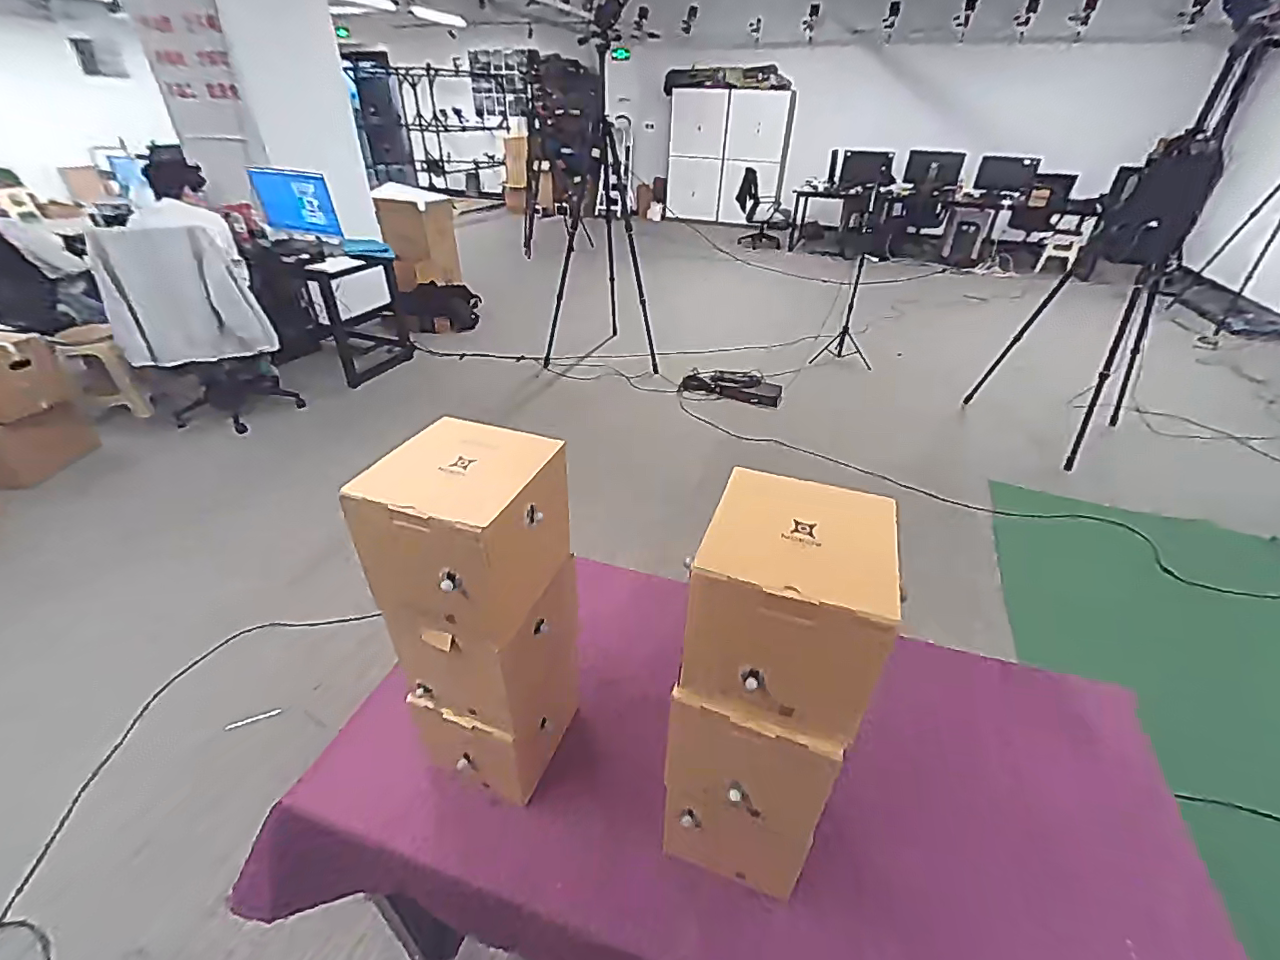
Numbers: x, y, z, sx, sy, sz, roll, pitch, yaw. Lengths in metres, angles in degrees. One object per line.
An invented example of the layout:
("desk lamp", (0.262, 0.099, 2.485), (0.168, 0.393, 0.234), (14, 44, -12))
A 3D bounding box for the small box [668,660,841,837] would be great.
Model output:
("small box", (0.136, 0.257, 0.623), (0.168, 0.176, 0.179), (15, 36, 18))

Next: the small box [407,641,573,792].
("small box", (-0.206, 0.320, 0.801), (0.168, 0.176, 0.179), (15, 37, 15))

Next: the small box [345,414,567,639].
("small box", (-0.188, 0.049, 0.617), (0.168, 0.176, 0.179), (14, 36, 15))

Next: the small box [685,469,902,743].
("small box", (0.148, 0.117, 0.539), (0.168, 0.176, 0.179), (14, 36, 16))

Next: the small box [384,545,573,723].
("small box", (-0.194, 0.181, 0.713), (0.168, 0.176, 0.179), (15, 35, 17))
